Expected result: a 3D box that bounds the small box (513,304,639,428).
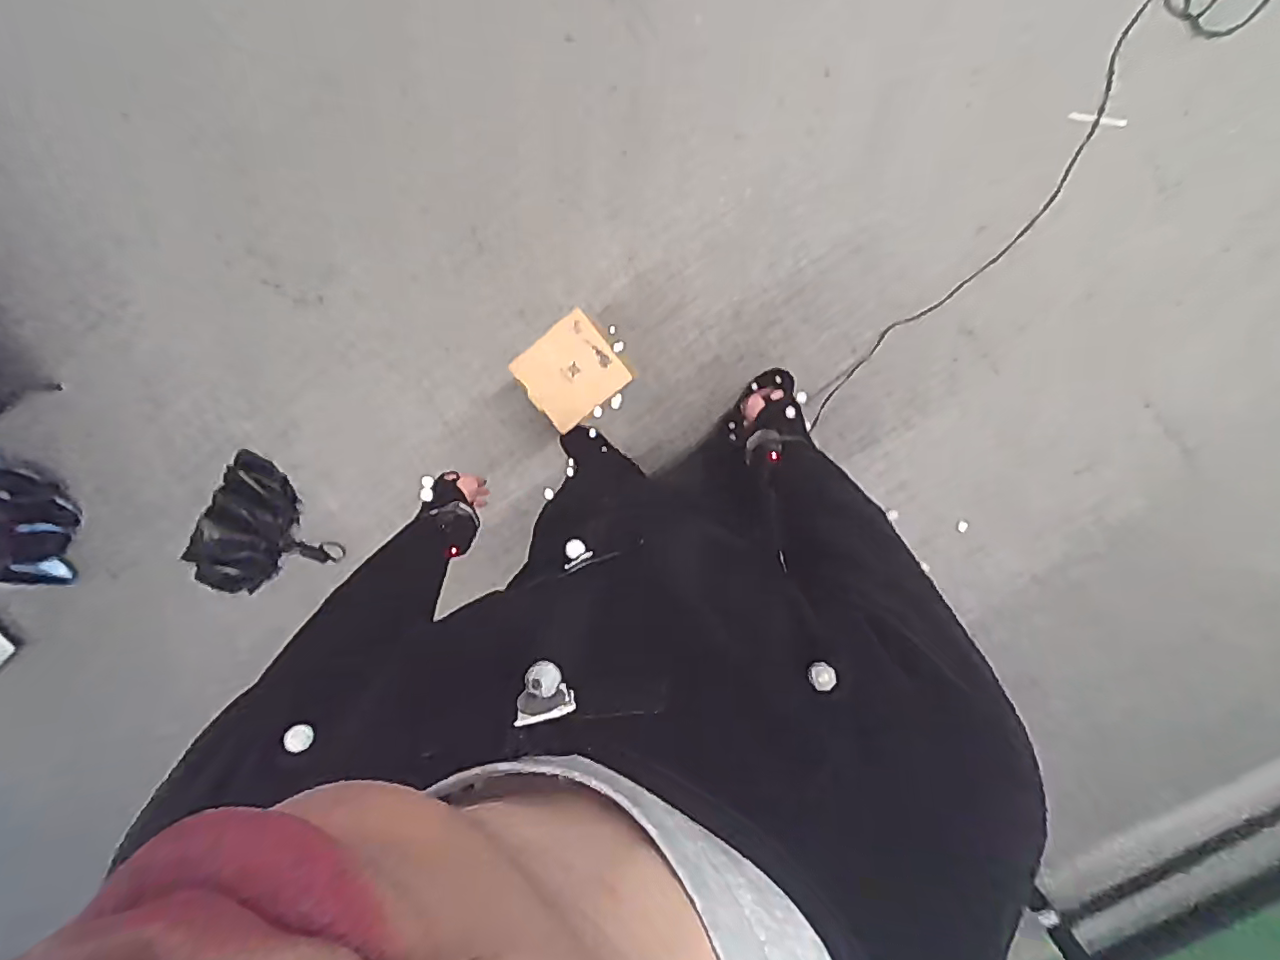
[{"bbox_3d":[-0.118,-0.226,1.087,0.179,0.176,0.168,-37,98,11],"label":"small box"}]
